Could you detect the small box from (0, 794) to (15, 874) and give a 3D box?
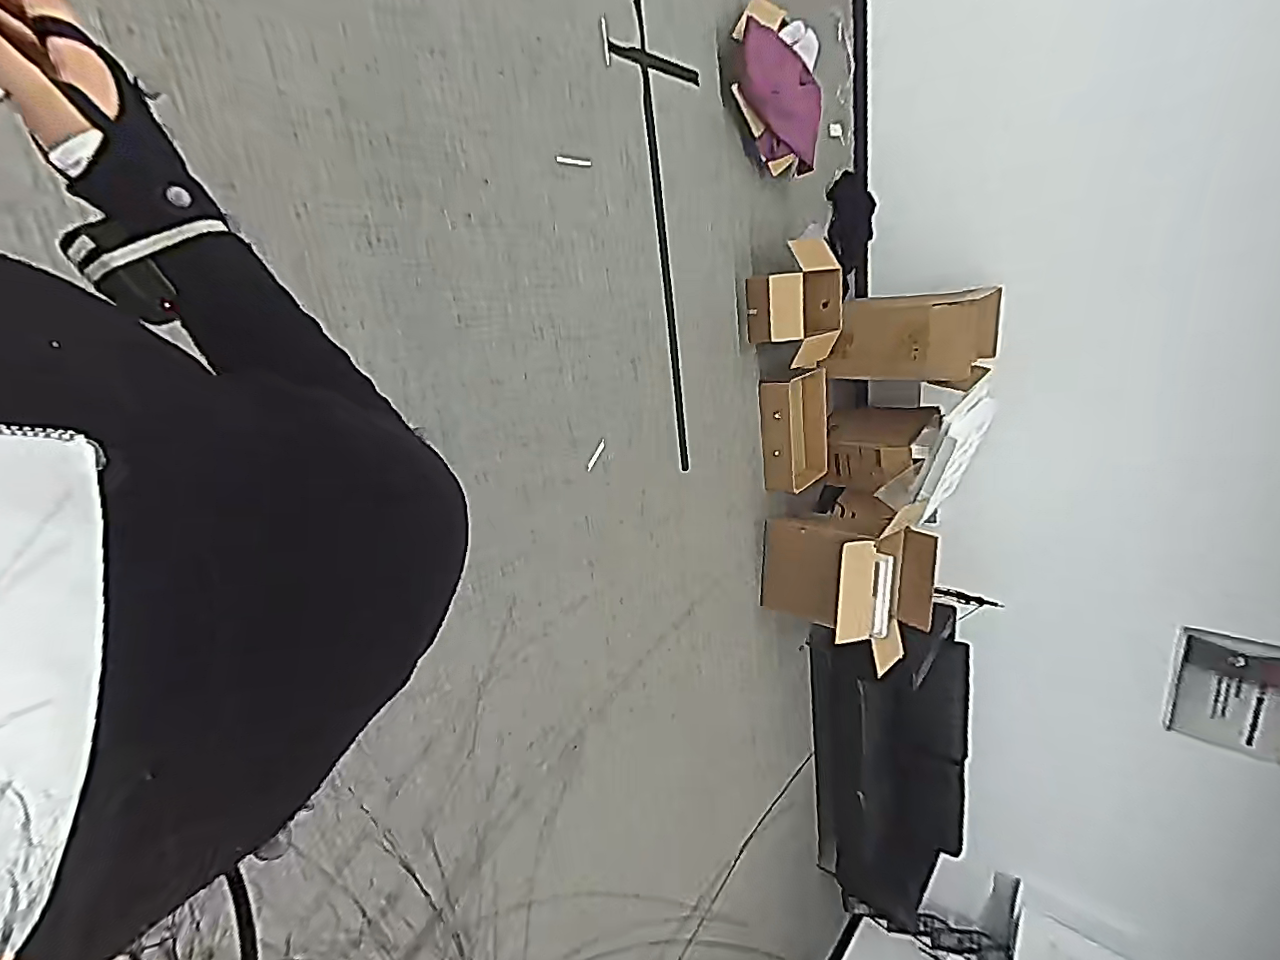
[{"bbox_3d":[-1.077,0.529,0.797,0.168,0.176,0.179,-28,116,-42],"label":"small box"}]

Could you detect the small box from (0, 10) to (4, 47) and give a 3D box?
[{"bbox_3d":[-0.487,-0.331,0.274,0.179,0.176,0.168,-23,122,-43],"label":"small box"}]

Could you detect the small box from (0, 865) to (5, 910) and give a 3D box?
[{"bbox_3d":[-0.962,0.555,0.682,0.168,0.176,0.179,-28,116,-42],"label":"small box"}]
